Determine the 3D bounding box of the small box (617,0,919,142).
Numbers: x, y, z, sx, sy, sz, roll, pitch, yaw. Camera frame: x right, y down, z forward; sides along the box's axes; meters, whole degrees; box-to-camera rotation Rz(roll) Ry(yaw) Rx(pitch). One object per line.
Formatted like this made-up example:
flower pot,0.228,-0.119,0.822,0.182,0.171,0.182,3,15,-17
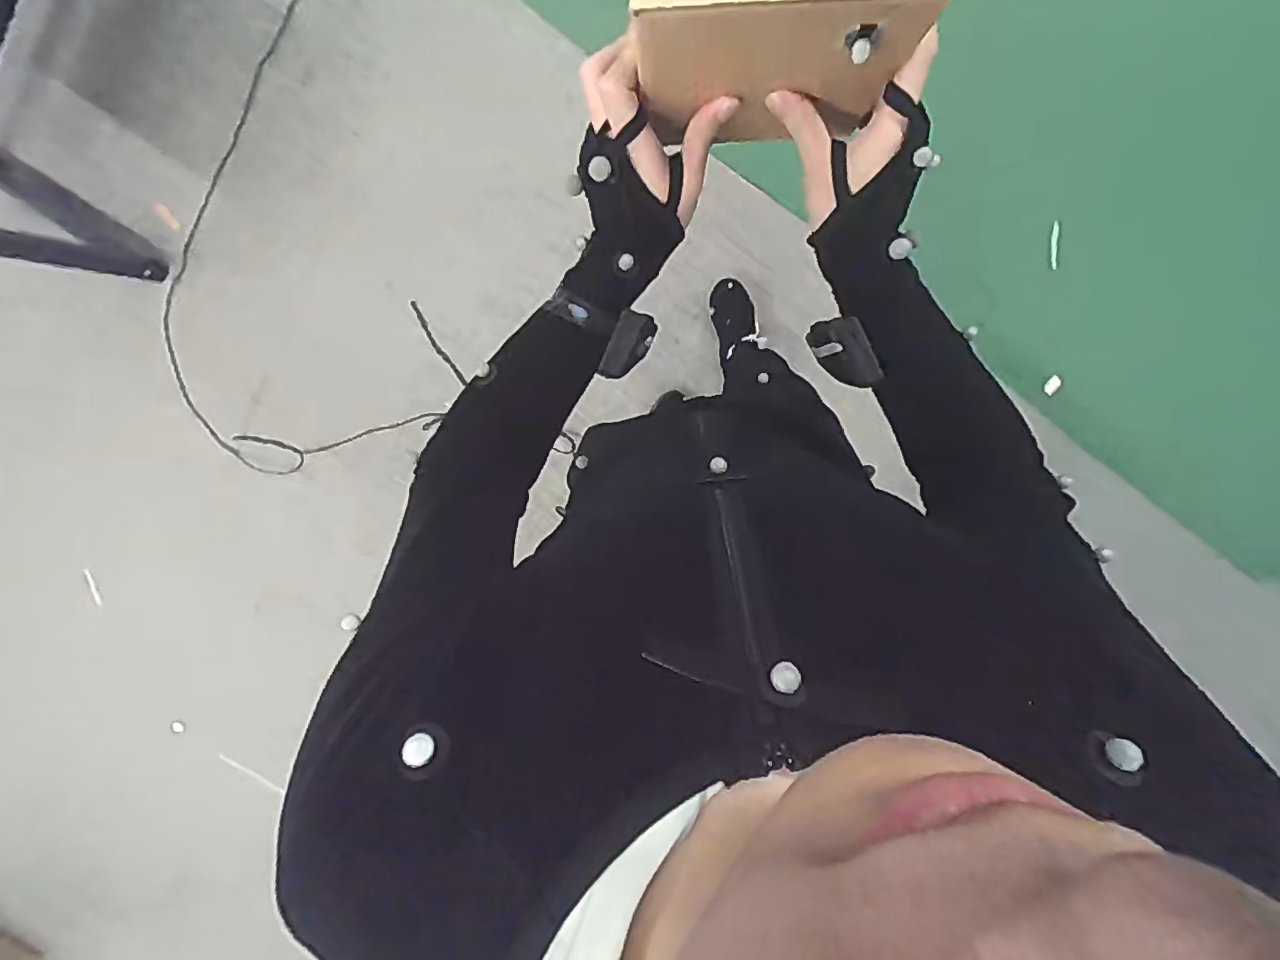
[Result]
small box,0.073,-0.343,0.348,0.179,0.176,0.168,-2,98,2
